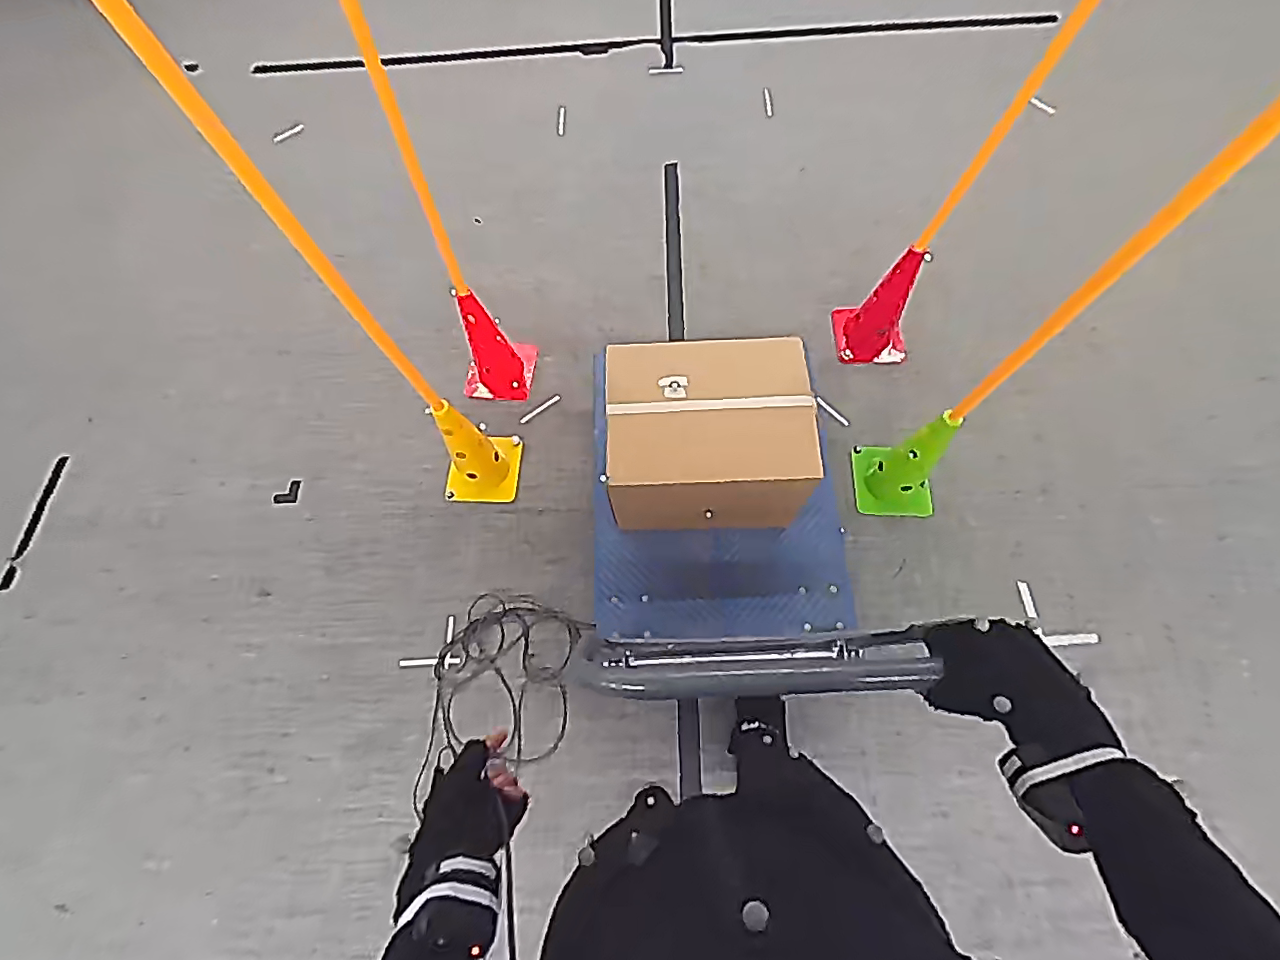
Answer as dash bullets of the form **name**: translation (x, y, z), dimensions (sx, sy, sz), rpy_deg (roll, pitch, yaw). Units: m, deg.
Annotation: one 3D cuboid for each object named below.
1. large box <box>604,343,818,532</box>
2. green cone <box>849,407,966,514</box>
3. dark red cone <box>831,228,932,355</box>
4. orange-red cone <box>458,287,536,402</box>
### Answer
- **large box**: translation (0.138, -0.076, 1.201), dimensions (0.408, 0.320, 0.320), rpy_deg (-2, 69, 2)
- **green cone**: translation (0.680, -0.069, 1.328), dimensions (0.202, 0.368, 0.200), rpy_deg (2, 68, 2)
- **dark red cone**: translation (0.692, -0.525, 1.494), dimensions (0.201, 0.394, 0.202), rpy_deg (-1, 68, 0)
- **orange-red cone**: translation (-0.435, -0.402, 1.514), dimensions (0.198, 0.360, 0.199), rpy_deg (6, 67, 4)
